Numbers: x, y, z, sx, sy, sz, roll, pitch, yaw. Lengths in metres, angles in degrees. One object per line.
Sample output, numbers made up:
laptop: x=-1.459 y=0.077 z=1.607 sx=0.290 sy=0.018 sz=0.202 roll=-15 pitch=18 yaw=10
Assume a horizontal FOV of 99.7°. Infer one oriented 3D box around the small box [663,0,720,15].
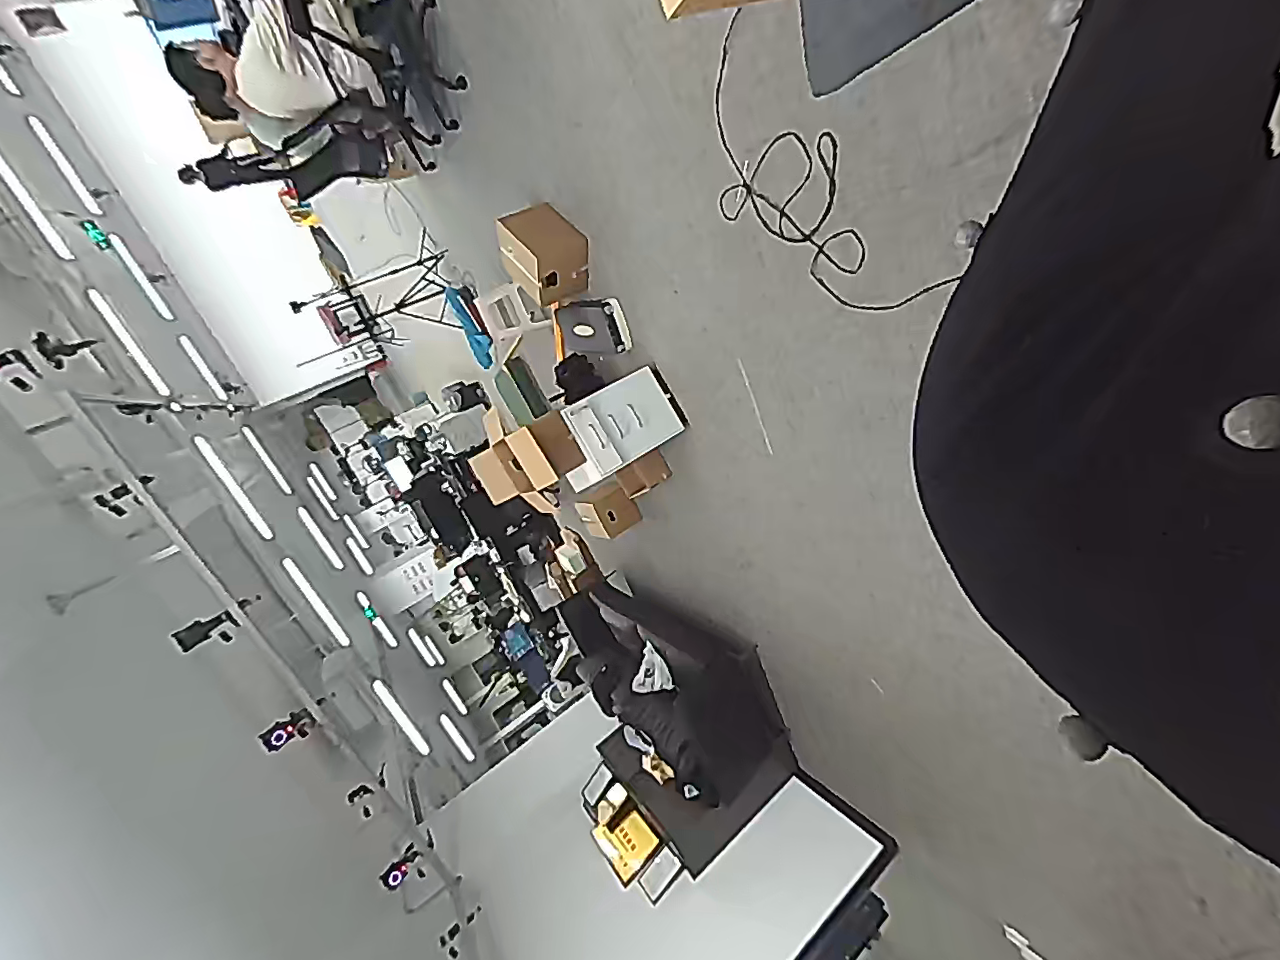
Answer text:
small box: x=0.103 y=-0.543 z=0.450 sx=0.179 sy=0.176 sz=0.168 roll=8 pitch=127 yaw=61
